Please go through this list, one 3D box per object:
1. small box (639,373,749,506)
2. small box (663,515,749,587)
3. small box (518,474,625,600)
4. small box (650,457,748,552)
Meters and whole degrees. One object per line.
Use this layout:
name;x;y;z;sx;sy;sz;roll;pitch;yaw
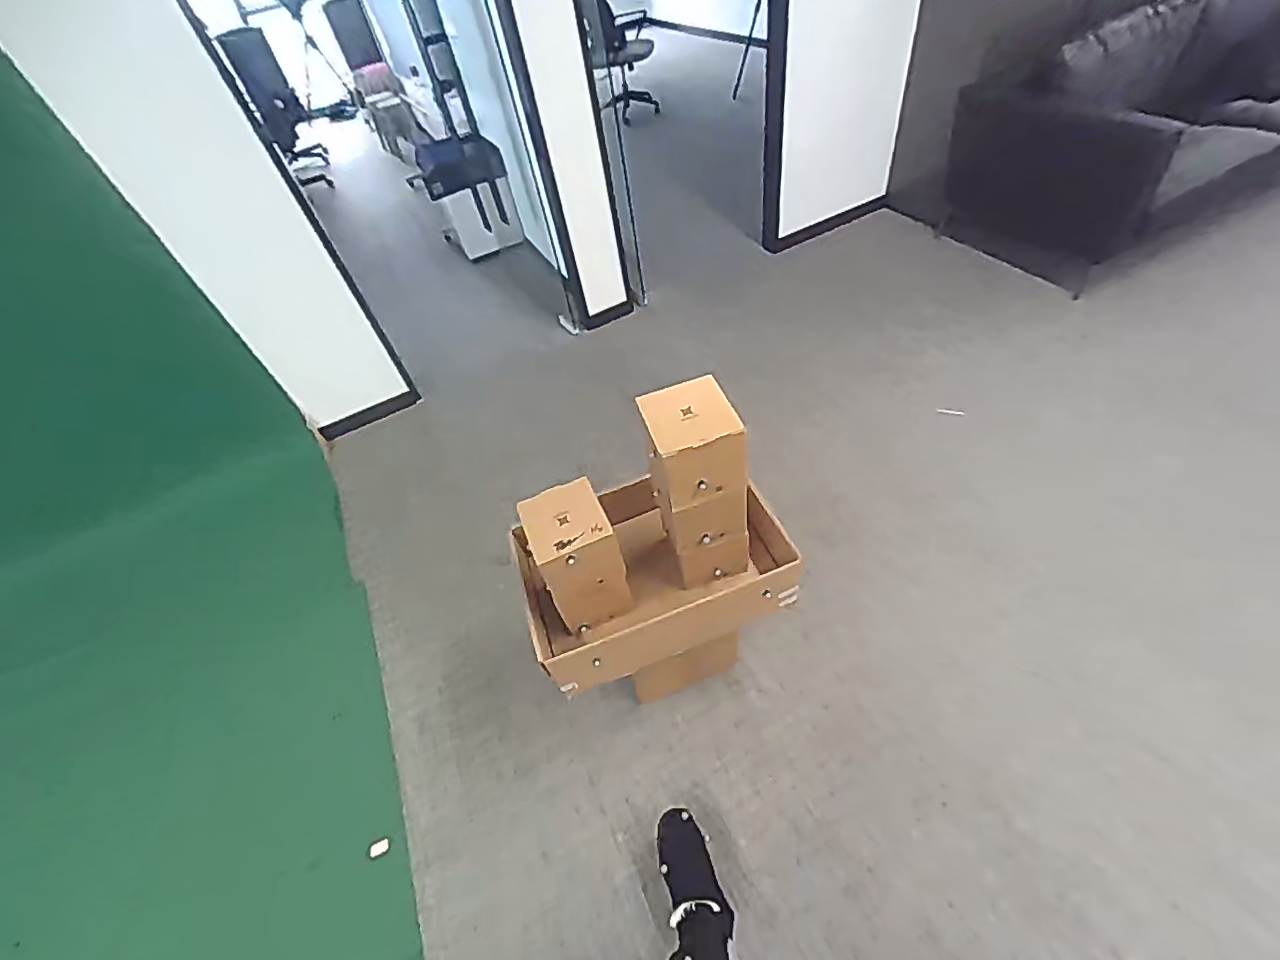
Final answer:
small box;0.107;-0.078;1.077;0.168;0.176;0.179;-18;49;-4
small box;0.156;0.131;1.321;0.168;0.176;0.179;-17;49;-4
small box;-0.144;0.124;1.163;0.168;0.176;0.179;-23;49;-8
small box;0.129;0.028;1.197;0.168;0.176;0.179;-18;49;-5
